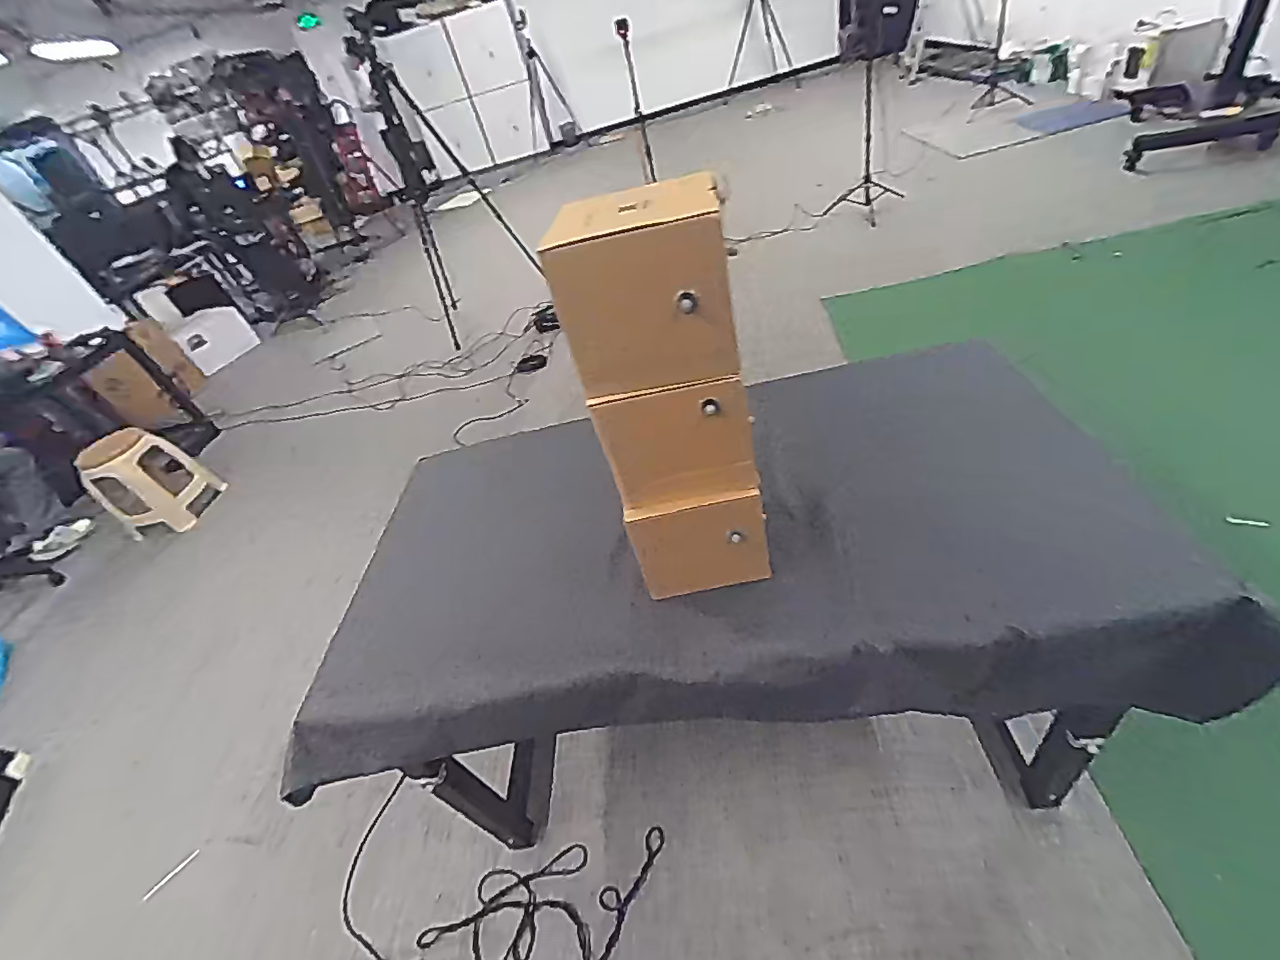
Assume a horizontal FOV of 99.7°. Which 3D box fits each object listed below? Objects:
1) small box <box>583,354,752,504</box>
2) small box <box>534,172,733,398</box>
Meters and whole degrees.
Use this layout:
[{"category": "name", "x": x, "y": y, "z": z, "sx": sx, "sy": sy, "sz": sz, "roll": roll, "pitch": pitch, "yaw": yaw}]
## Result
[{"category": "small box", "x": 0.039, "y": -0.087, "z": 0.698, "sx": 0.179, "sy": 0.176, "sz": 0.168, "roll": -10, "pitch": 40, "yaw": 8}, {"category": "small box", "x": 0.006, "y": -0.212, "z": 0.599, "sx": 0.179, "sy": 0.176, "sz": 0.168, "roll": -9, "pitch": 39, "yaw": 11}]
